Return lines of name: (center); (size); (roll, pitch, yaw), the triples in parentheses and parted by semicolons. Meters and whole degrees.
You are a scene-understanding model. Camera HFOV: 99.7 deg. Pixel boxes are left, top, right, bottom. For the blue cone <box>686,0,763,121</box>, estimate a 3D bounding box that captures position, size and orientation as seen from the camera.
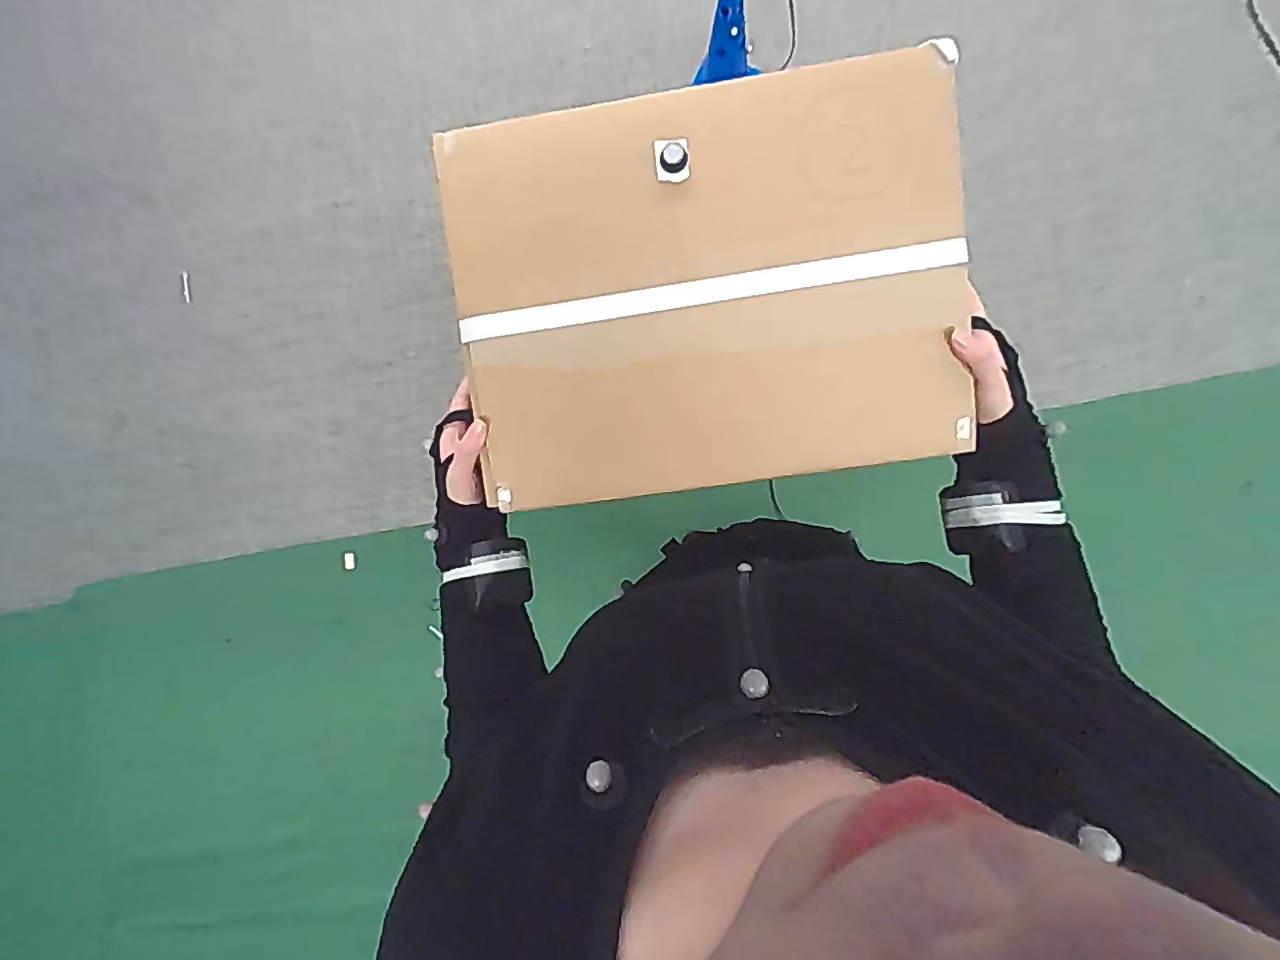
blue cone: (0.226, -1.148, 1.397); (0.192, 0.380, 0.193); (22, 90, 7)
